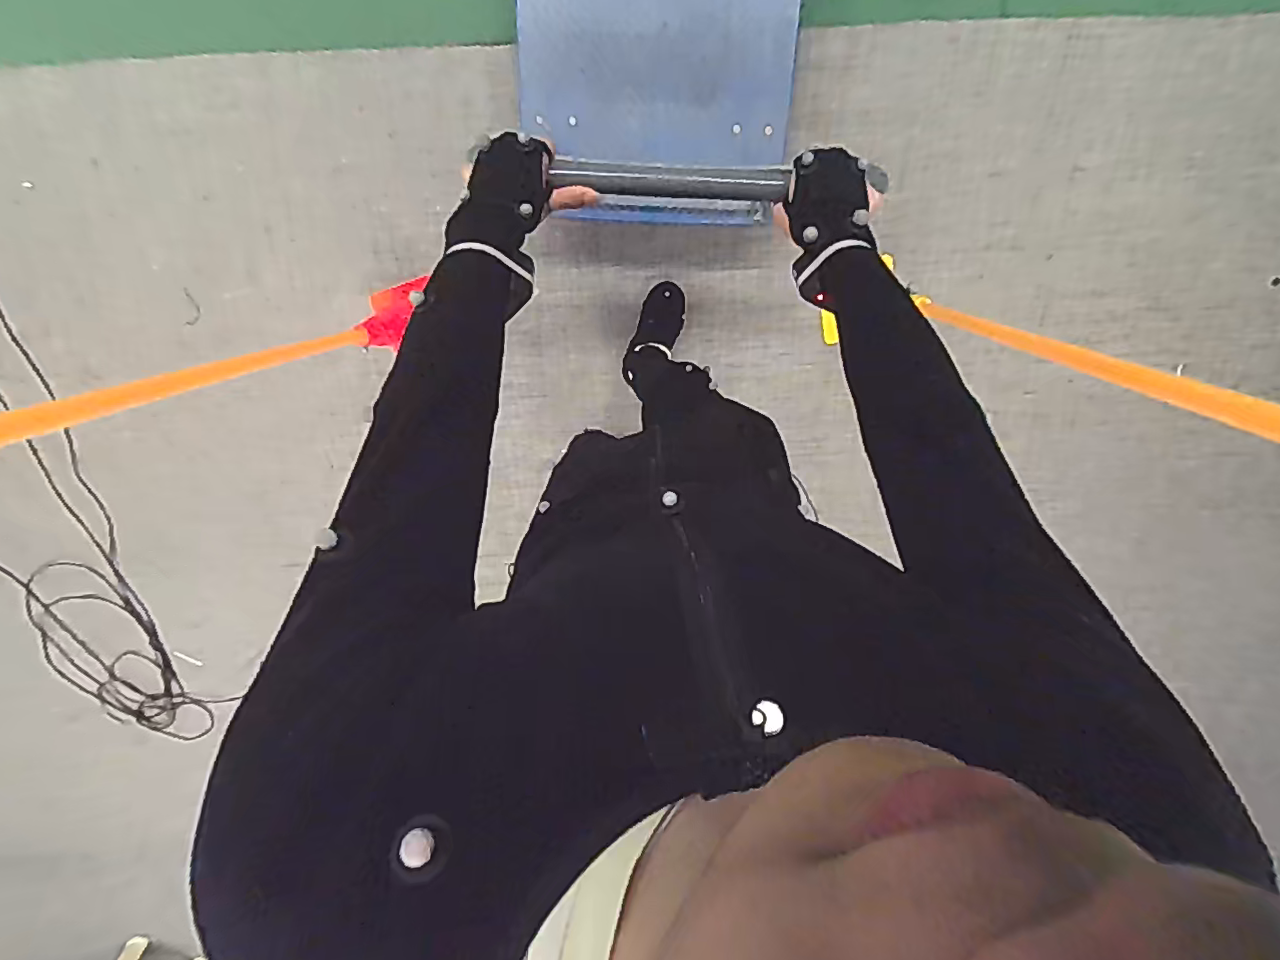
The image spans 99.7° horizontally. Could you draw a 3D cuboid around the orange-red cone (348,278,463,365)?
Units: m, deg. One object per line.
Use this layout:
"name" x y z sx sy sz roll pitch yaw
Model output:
"orange-red cone" -0.594 -0.360 1.290 0.199 0.360 0.198 -16 110 6
